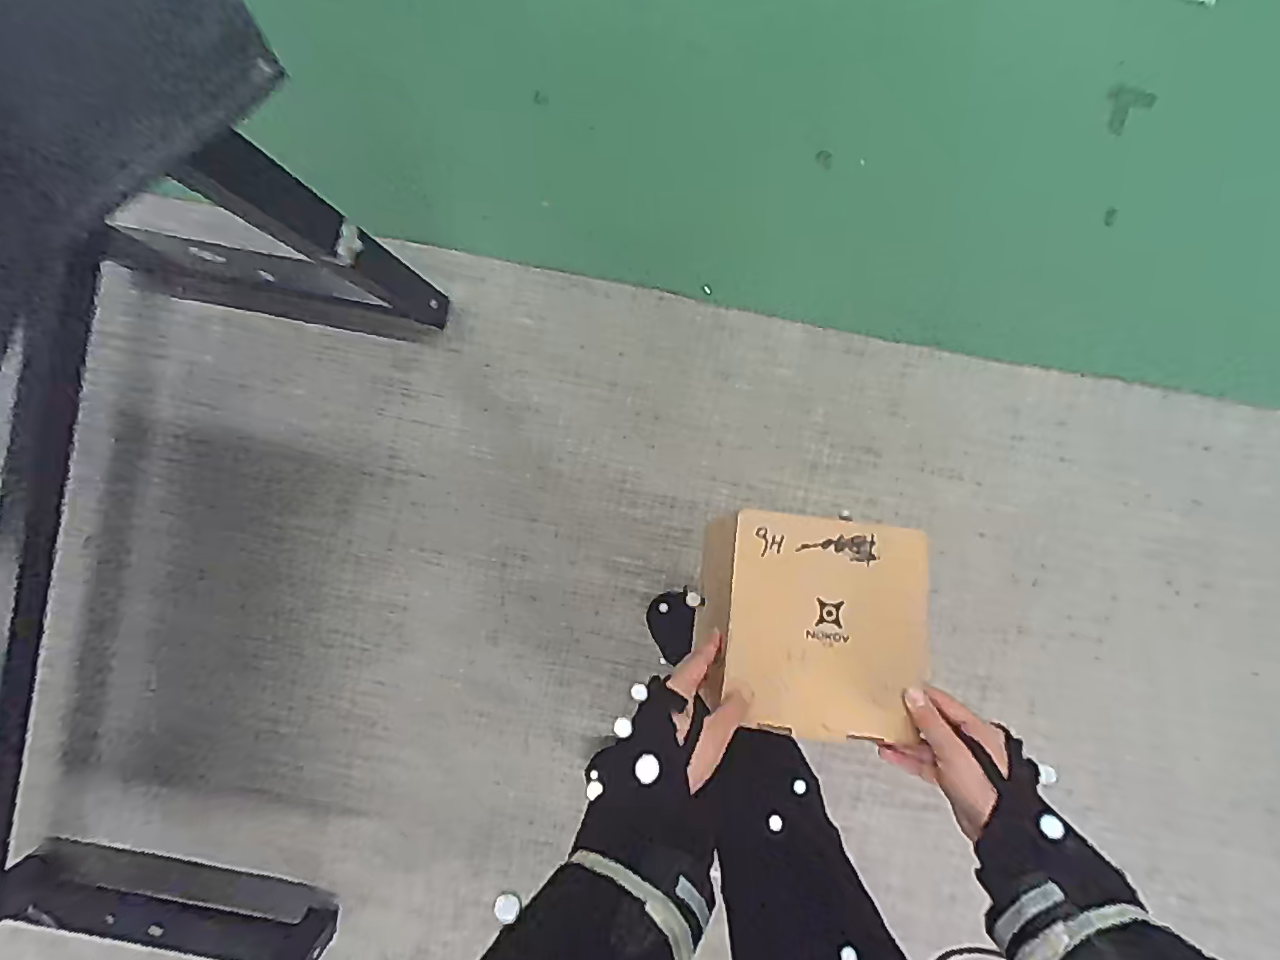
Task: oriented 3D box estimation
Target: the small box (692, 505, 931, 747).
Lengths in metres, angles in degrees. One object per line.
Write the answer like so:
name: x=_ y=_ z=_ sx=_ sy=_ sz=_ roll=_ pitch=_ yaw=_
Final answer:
small box: x=0.145 y=0.124 z=0.512 sx=0.168 sy=0.176 sz=0.179 roll=7 pitch=83 yaw=-2
